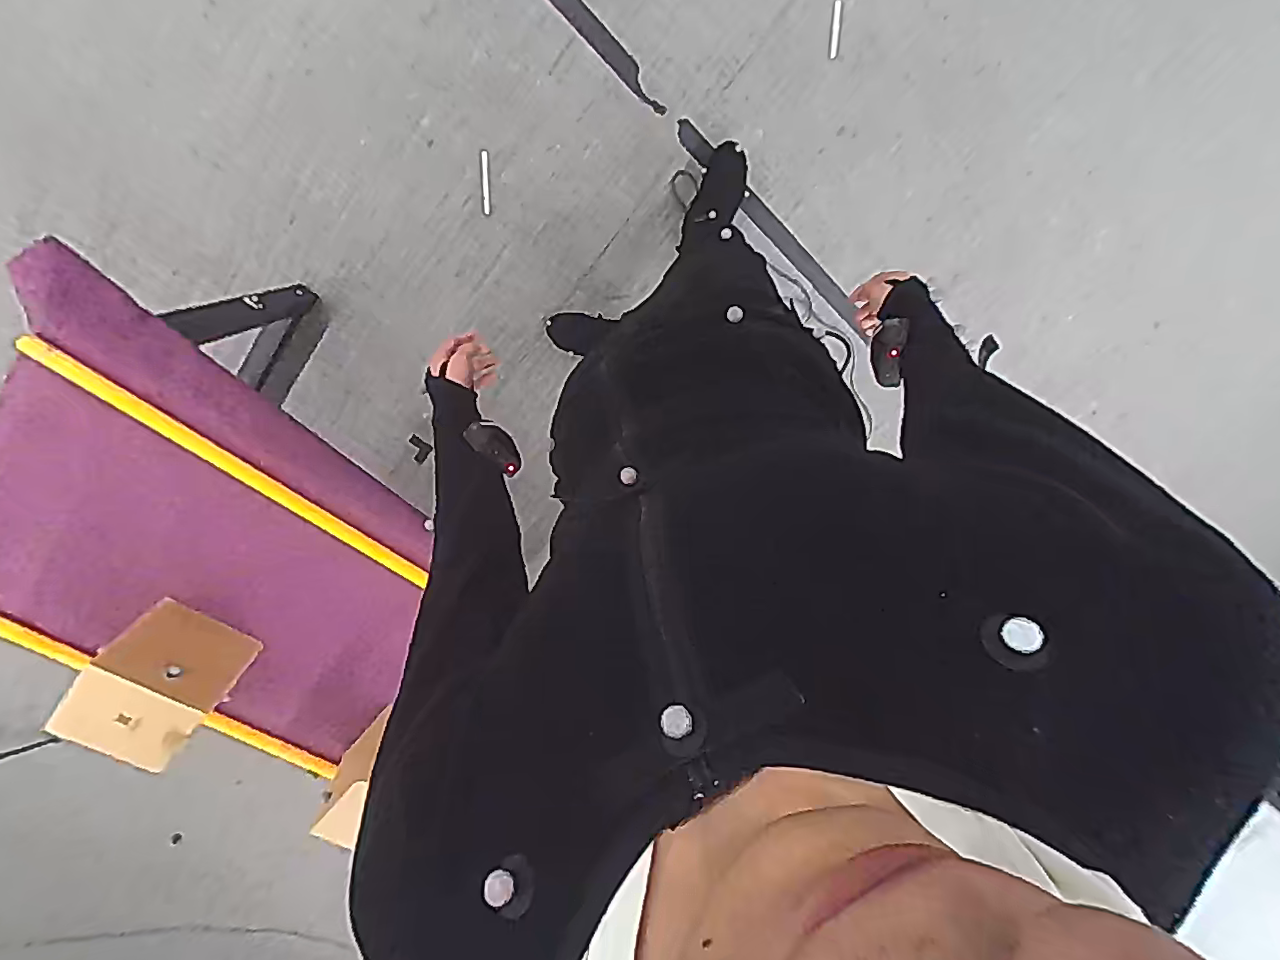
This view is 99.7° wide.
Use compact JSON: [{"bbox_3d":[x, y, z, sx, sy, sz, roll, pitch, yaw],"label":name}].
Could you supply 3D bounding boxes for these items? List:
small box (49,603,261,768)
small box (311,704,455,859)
[{"bbox_3d":[-0.802,0.336,0.914,0.179,0.176,0.168,38,105,-20],"label":"small box"},{"bbox_3d":[-0.486,0.581,1.052,0.168,0.176,0.179,38,105,-20],"label":"small box"}]
